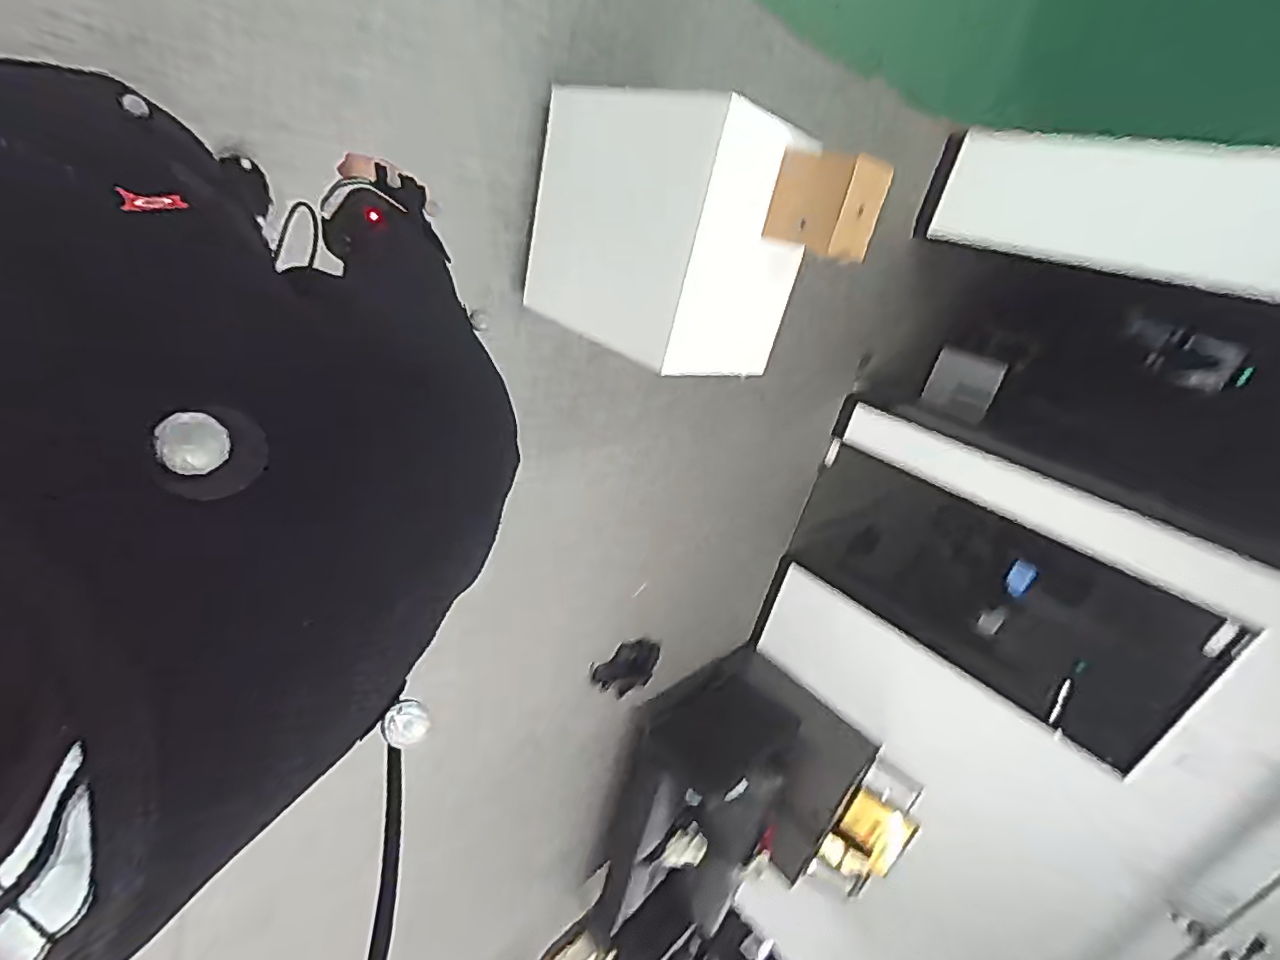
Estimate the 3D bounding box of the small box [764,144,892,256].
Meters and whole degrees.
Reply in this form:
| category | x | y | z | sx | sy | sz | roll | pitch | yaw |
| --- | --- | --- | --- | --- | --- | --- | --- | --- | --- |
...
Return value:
| category | x | y | z | sx | sy | sz | roll | pitch | yaw |
| --- | --- | --- | --- | --- | --- | --- | --- | --- | --- |
| small box | 0.385 | -0.582 | 1.132 | 0.168 | 0.176 | 0.179 | -17 | 129 | -41 |
